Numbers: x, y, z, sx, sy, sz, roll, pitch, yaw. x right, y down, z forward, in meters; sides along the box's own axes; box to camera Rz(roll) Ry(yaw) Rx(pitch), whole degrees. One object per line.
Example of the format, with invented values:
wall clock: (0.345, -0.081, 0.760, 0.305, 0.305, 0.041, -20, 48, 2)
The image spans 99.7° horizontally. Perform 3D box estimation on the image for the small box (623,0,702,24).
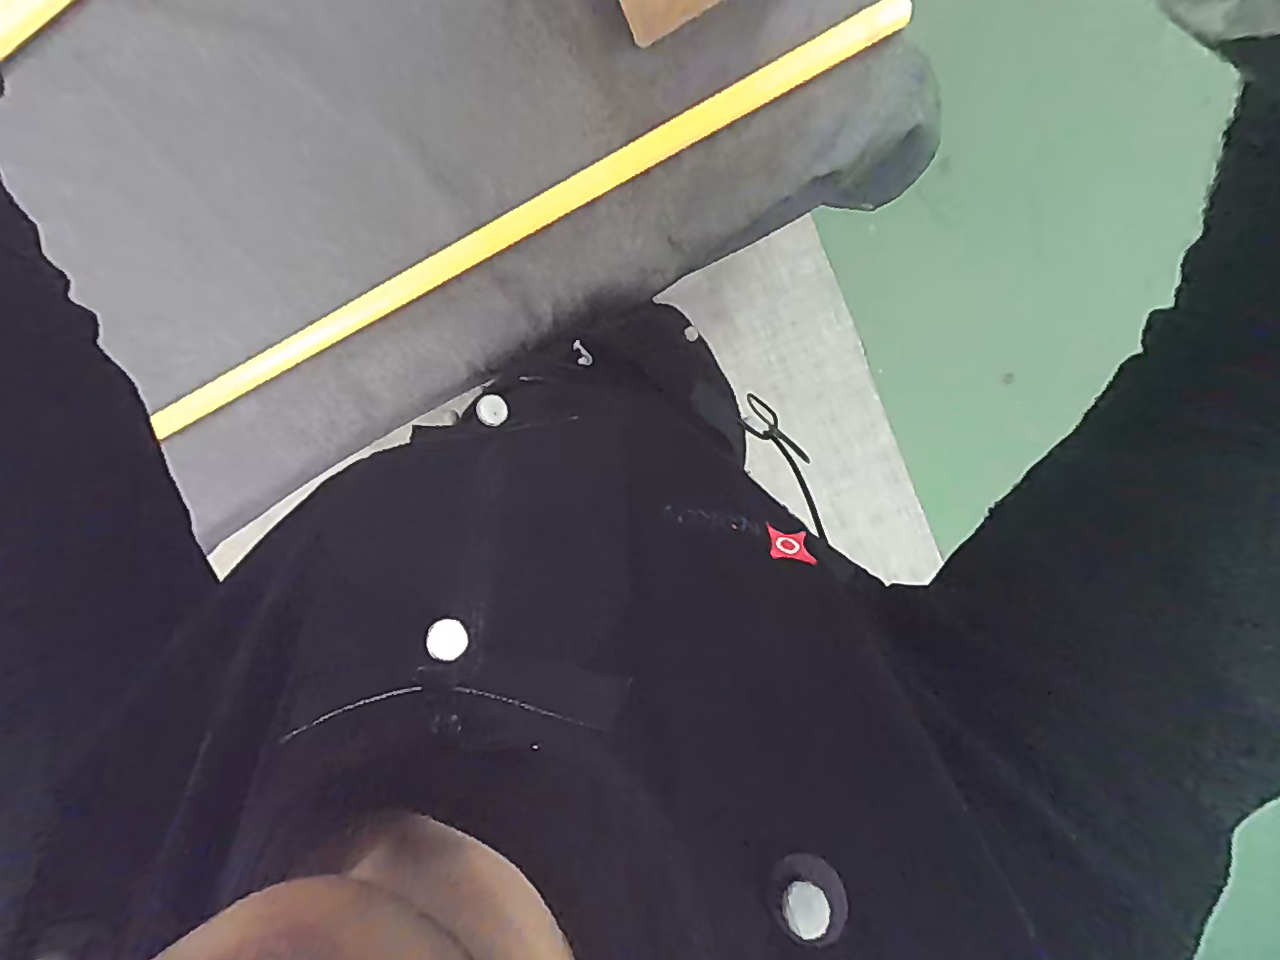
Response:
small box: (0.031, -0.464, 0.368, 0.168, 0.176, 0.179, -24, 106, 12)
